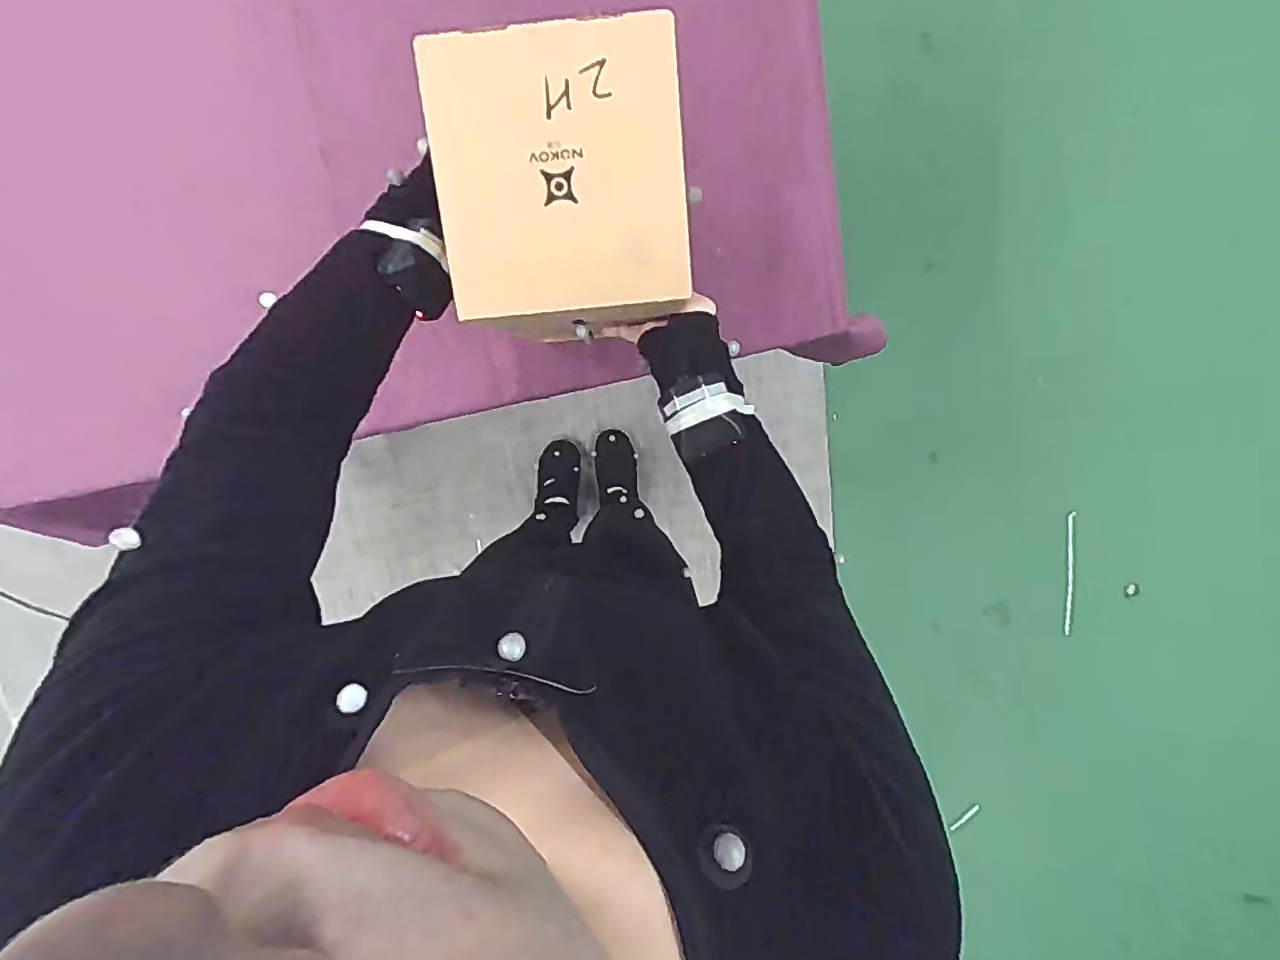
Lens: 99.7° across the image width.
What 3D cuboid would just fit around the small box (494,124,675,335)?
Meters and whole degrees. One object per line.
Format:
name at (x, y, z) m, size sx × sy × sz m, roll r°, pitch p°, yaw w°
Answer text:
small box at (-0.052, -0.260, 0.599) m, size 0.168 × 0.176 × 0.179 m, roll -4°, pitch 103°, yaw 1°
